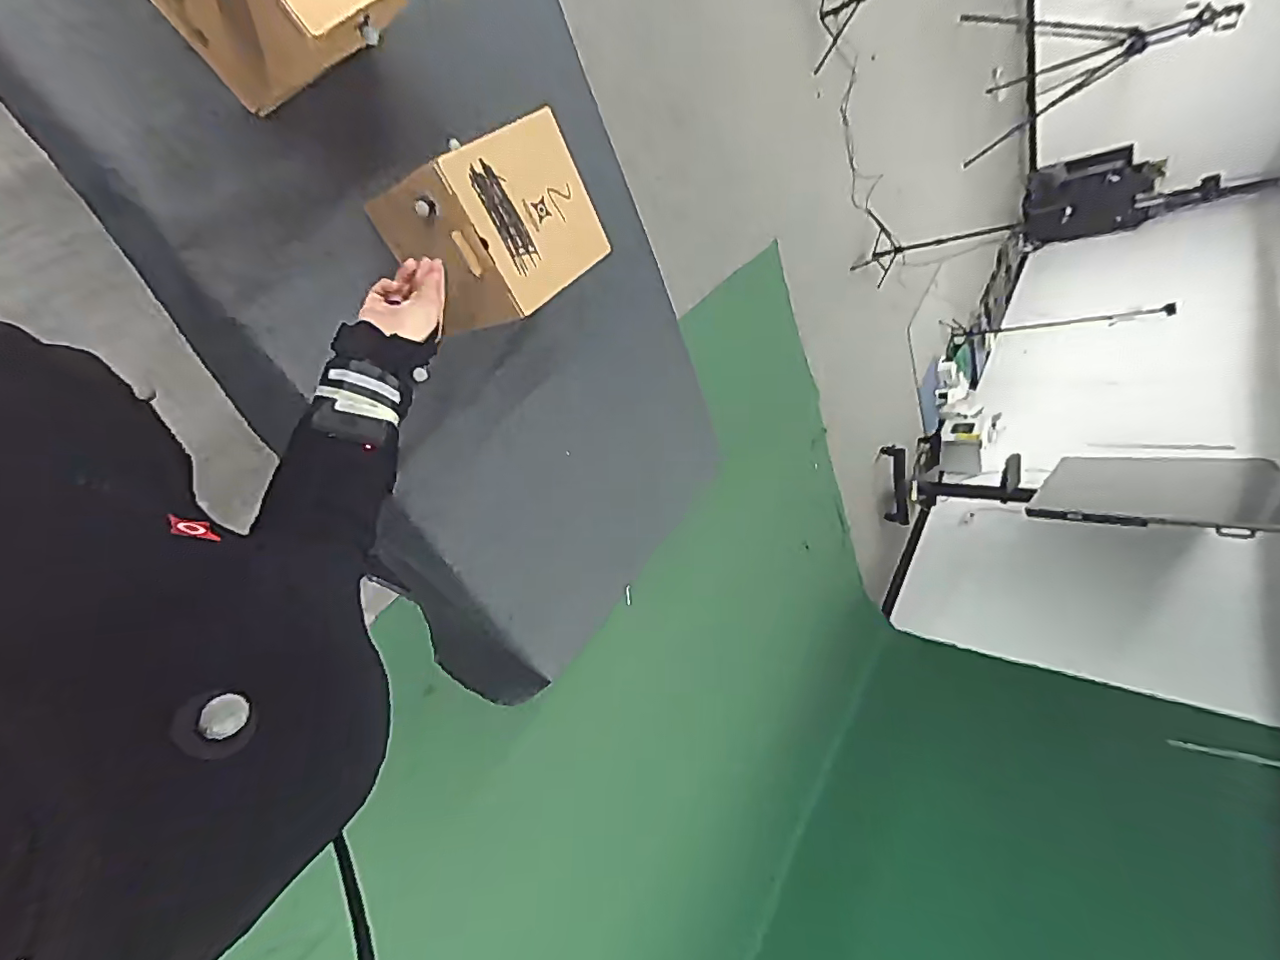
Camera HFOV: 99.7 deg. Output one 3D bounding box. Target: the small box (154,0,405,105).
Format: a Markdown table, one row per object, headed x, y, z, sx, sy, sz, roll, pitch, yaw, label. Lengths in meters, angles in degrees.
| x | y | z | sx | sy | sz | roll | pitch | yaw | label |
| --- | --- | --- | --- | --- | --- | --- | --- | --- | --- |
| -0.320 | -0.473 | 0.467 | 0.168 | 0.176 | 0.179 | 52 | 58 | -39 | small box |
